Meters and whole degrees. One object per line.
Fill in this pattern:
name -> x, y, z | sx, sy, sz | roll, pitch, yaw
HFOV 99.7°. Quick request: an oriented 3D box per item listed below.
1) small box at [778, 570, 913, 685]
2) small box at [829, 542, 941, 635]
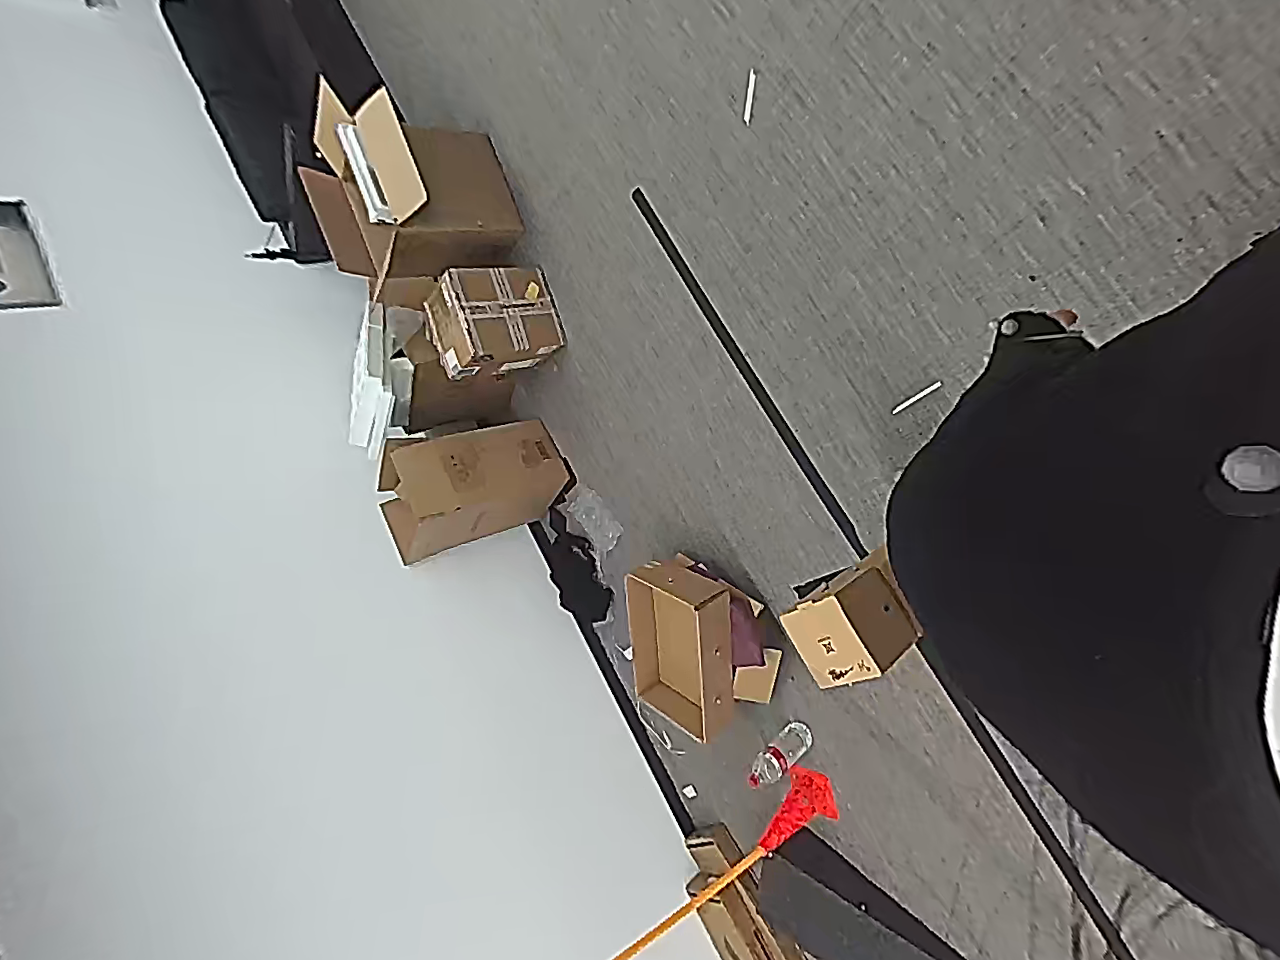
small box -> 0.439, 0.308, 1.156 | 0.168, 0.176, 0.179 | -43, 71, 49
small box -> 0.563, 0.264, 1.254 | 0.179, 0.176, 0.168 | -43, 72, 50
